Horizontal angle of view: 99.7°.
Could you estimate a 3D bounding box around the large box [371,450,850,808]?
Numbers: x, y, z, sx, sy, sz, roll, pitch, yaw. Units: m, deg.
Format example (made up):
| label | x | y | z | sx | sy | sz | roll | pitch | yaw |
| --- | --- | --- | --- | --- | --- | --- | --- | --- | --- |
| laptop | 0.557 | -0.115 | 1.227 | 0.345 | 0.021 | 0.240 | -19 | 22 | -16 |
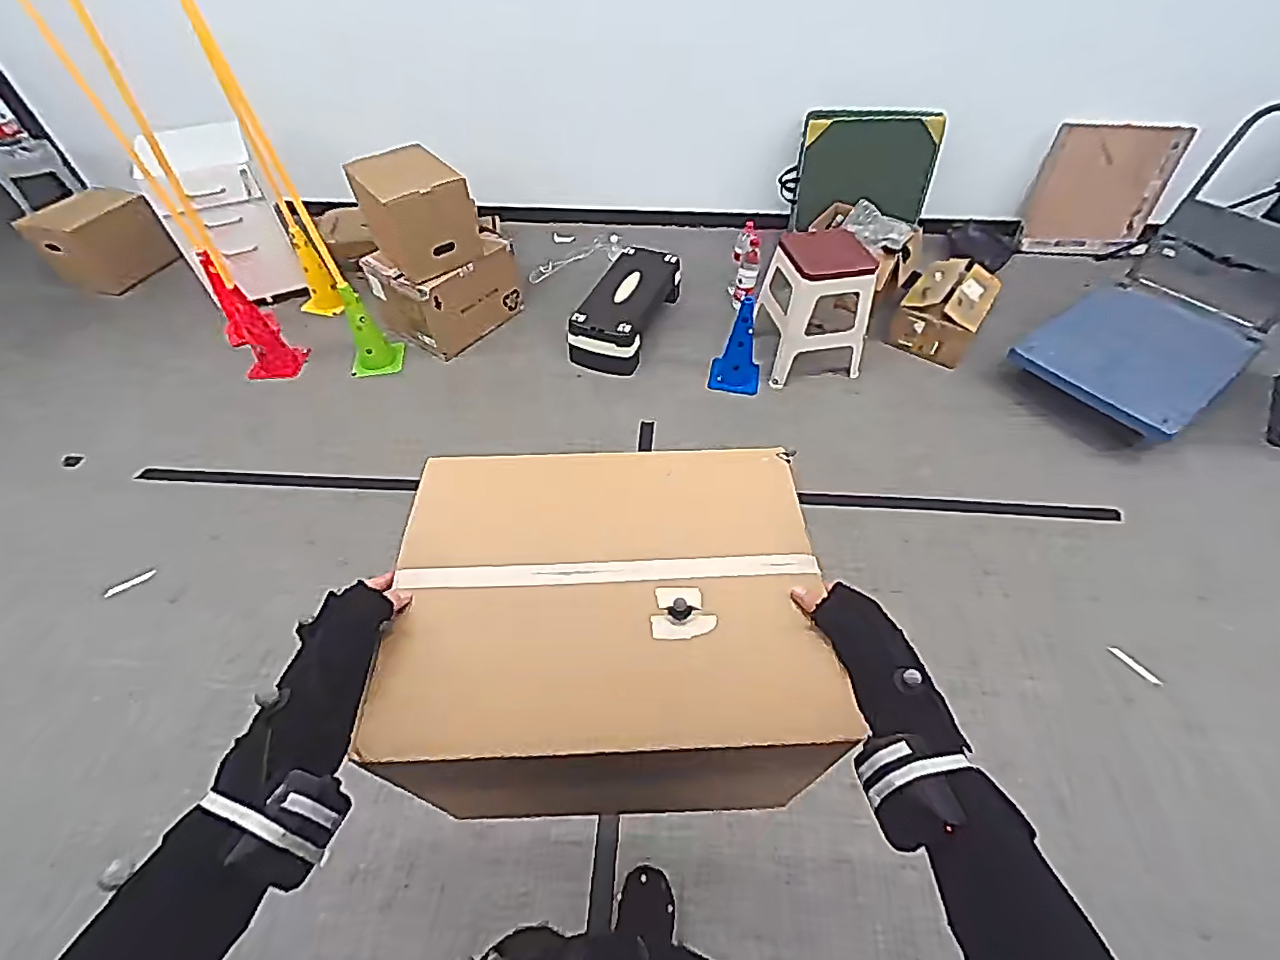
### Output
| label | x | y | z | sx | sy | sz | roll | pitch | yaw |
| --- | --- | --- | --- | --- | --- | --- | --- | --- | --- |
| large box | -0.029 | 0.183 | 0.648 | 0.408 | 0.320 | 0.320 | -1 | 51 | -1 |
